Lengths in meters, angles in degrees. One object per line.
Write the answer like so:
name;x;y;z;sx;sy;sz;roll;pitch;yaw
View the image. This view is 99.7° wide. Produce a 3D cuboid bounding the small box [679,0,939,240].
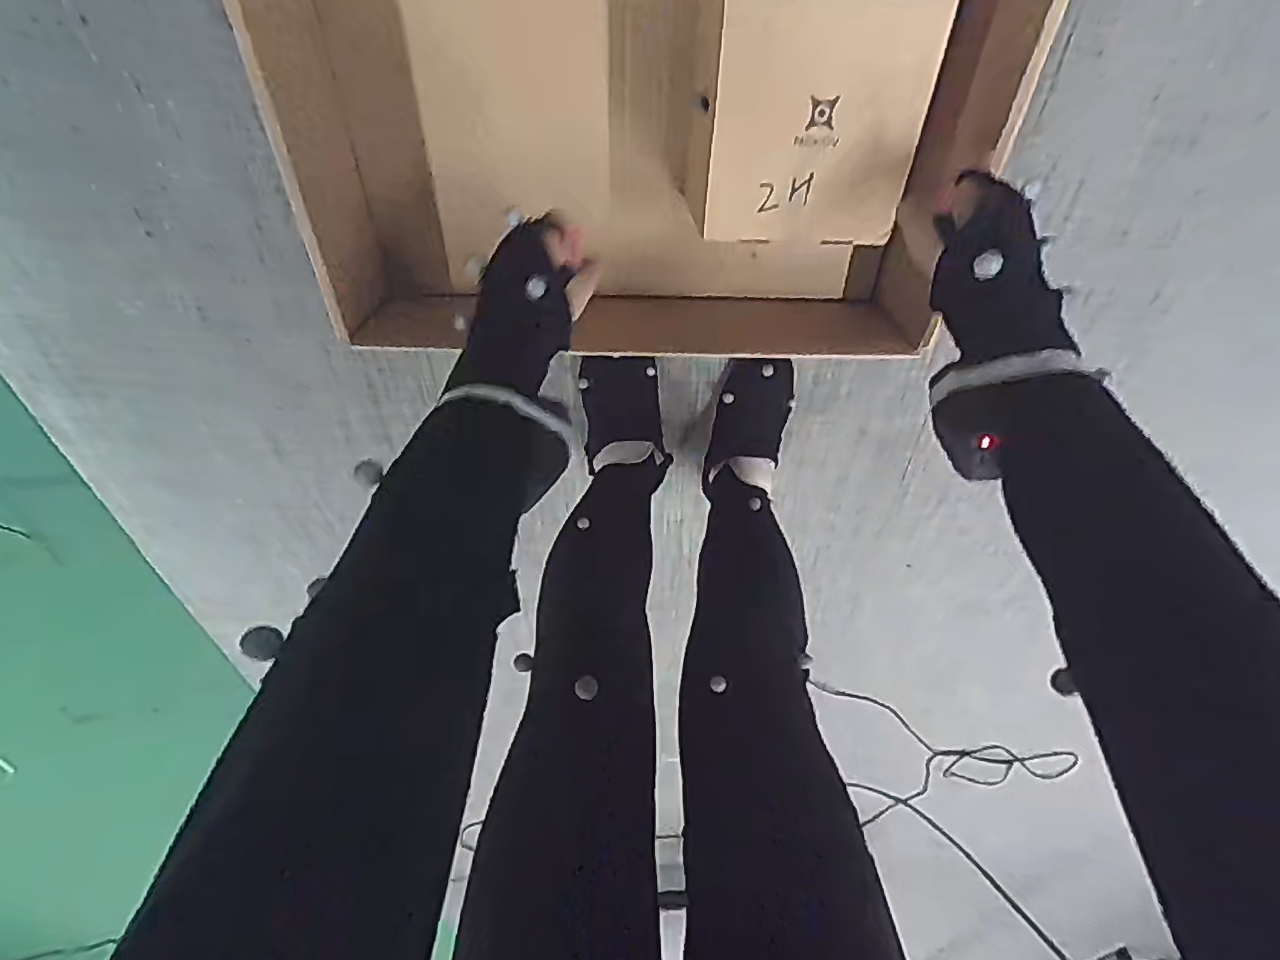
small box;0.126;-0.332;0.487;0.168;0.176;0.179;1;129;-2
